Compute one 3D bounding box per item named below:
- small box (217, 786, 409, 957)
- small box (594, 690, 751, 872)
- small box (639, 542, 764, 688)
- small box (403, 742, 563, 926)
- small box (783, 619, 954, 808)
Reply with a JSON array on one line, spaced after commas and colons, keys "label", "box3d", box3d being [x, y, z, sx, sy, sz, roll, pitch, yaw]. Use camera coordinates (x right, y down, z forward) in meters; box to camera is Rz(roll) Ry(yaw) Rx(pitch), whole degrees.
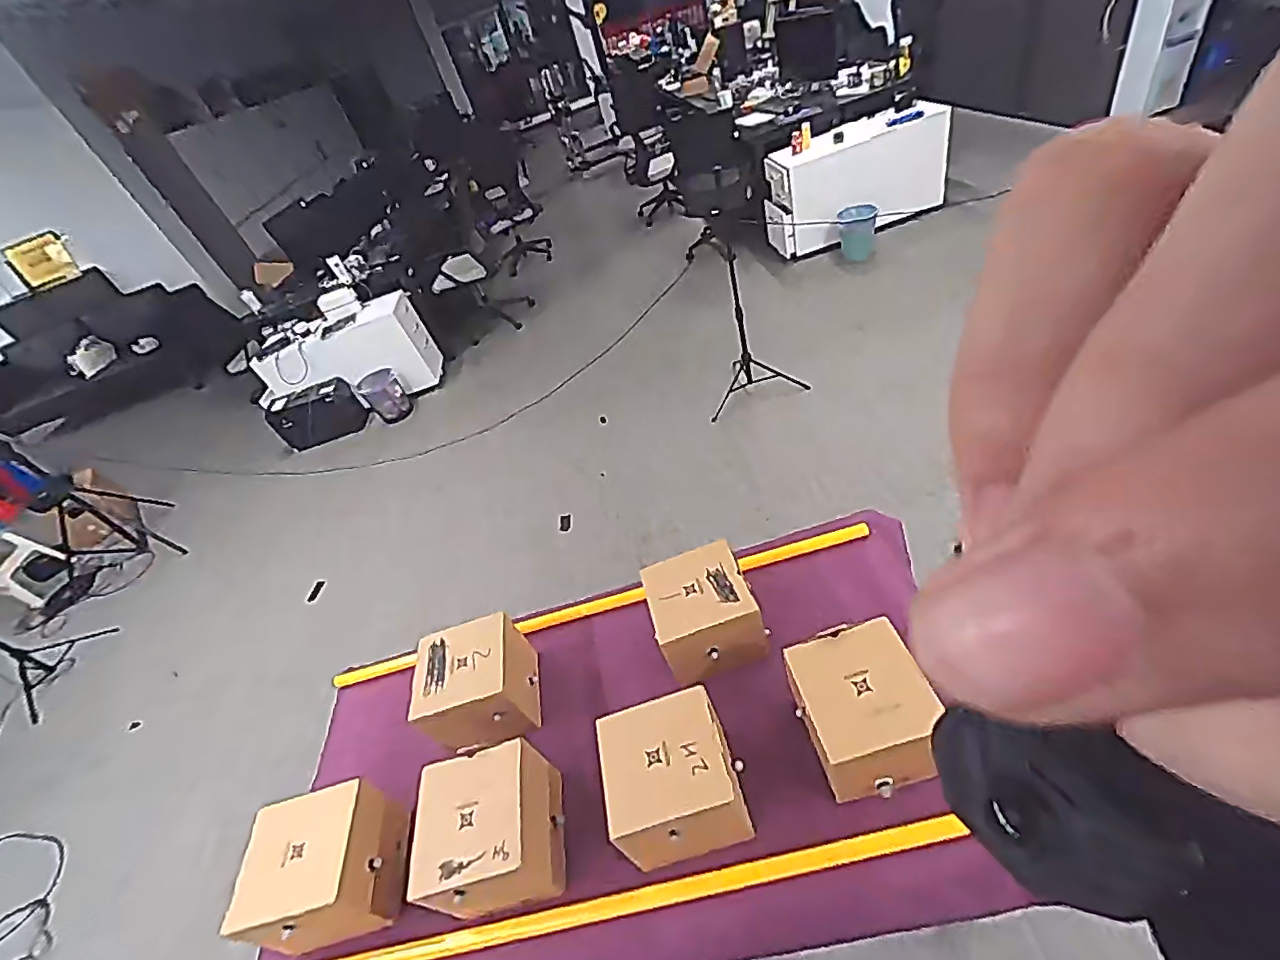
[{"label": "small box", "box3d": [-0.493, 0.616, 0.850, 0.179, 0.176, 0.168, -19, 40, 2]}, {"label": "small box", "box3d": [0.047, 0.447, 0.800, 0.179, 0.176, 0.168, -19, 40, 3]}, {"label": "small box", "box3d": [0.115, 0.248, 0.986, 0.179, 0.176, 0.168, -21, 42, 3]}, {"label": "small box", "box3d": [-0.224, 0.537, 0.820, 0.168, 0.176, 0.179, -19, 40, 5]}, {"label": "small box", "box3d": [0.326, 0.342, 0.792, 0.168, 0.176, 0.179, -20, 39, 4]}]
